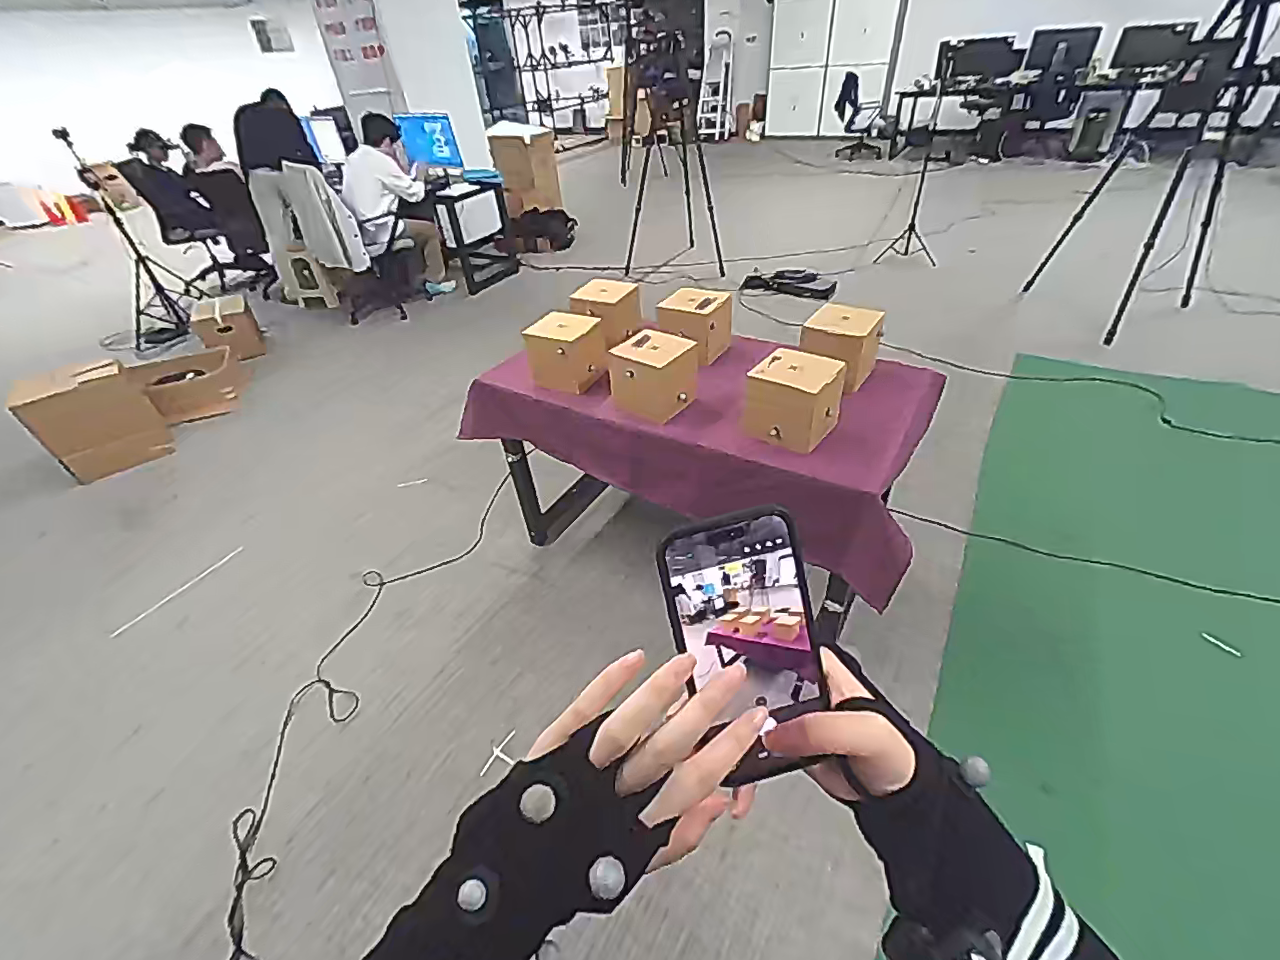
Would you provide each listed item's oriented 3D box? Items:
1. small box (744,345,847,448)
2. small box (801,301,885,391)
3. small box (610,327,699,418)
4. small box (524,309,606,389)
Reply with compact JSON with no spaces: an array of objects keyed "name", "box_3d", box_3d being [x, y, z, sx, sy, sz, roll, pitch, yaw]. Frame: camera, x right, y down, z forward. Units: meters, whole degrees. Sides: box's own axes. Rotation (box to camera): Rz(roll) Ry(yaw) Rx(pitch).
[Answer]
[{"name":"small box","box_3d":[0.370,-0.199,1.305,0.179,0.176,0.168,25,48,31]},{"name":"small box","box_3d":[0.551,-0.372,1.494,0.168,0.176,0.179,22,47,30]},{"name":"small box","box_3d":[0.040,-0.288,1.451,0.179,0.176,0.168,25,48,30]},{"name":"small box","box_3d":[-0.216,-0.387,1.602,0.179,0.176,0.168,16,43,22]}]
